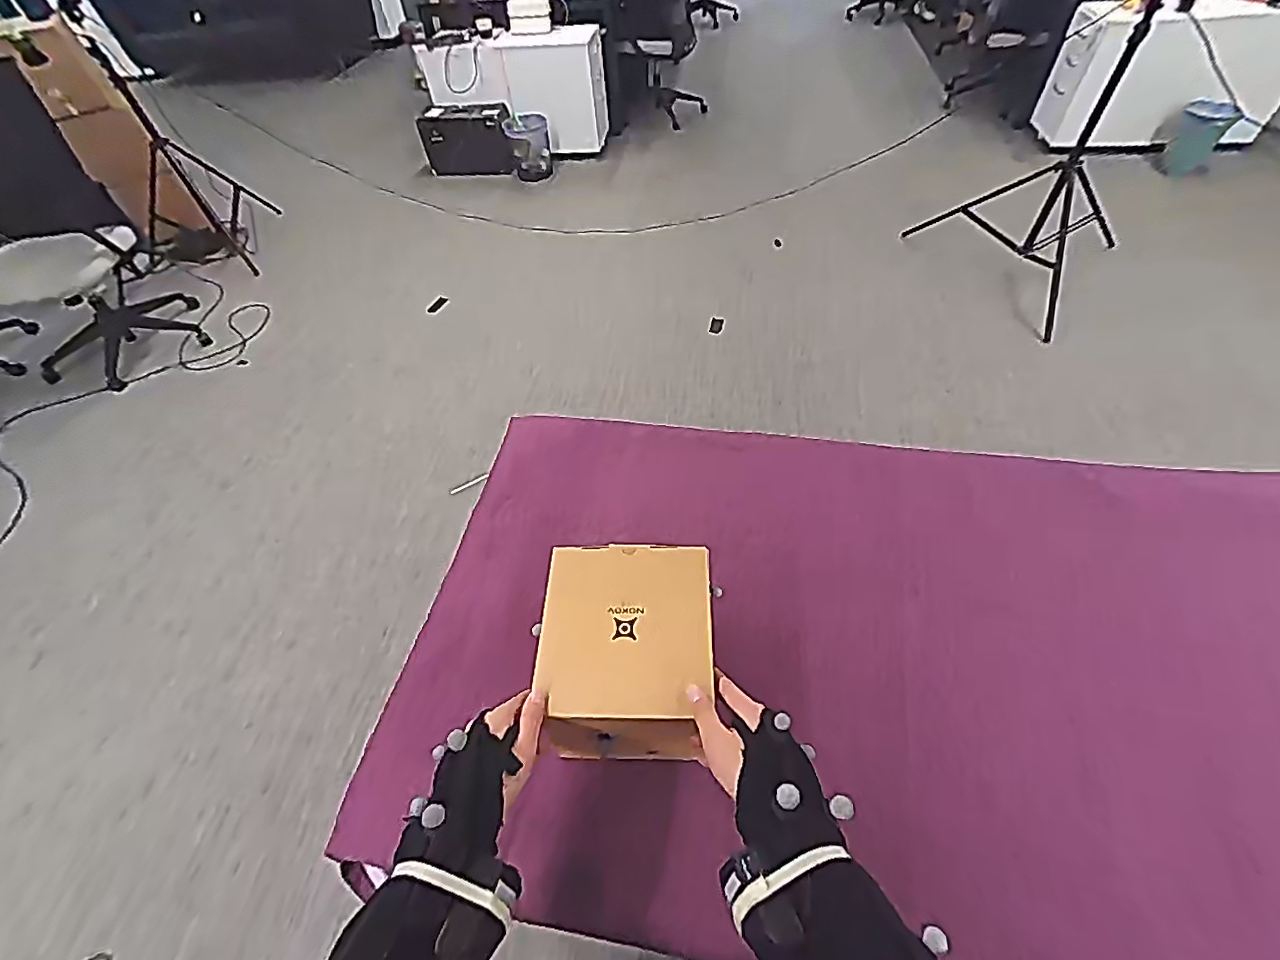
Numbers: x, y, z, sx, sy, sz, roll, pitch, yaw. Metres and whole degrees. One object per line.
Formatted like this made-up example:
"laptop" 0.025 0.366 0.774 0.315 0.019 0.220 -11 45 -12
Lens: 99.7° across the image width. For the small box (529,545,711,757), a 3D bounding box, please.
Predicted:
"small box" -0.009 0.188 0.583 0.168 0.176 0.179 -1 50 4
